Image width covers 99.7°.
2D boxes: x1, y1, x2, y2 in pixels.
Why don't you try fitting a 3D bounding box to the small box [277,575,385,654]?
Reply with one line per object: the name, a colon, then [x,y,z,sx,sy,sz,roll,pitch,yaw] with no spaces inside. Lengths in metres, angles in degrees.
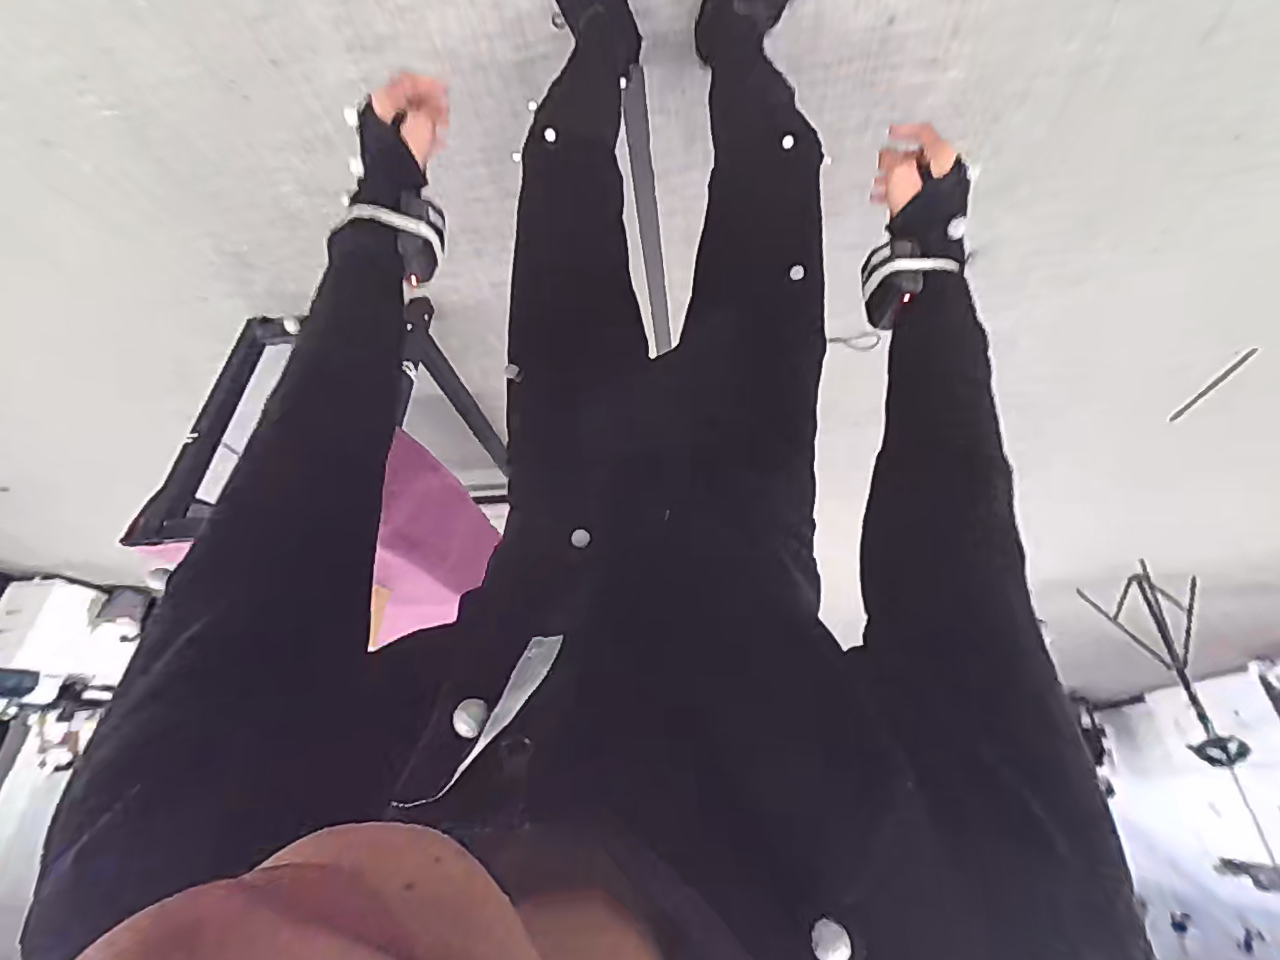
small box: [-0.803,0.356,1.431,0.179,0.176,0.168,-6,150,13]
